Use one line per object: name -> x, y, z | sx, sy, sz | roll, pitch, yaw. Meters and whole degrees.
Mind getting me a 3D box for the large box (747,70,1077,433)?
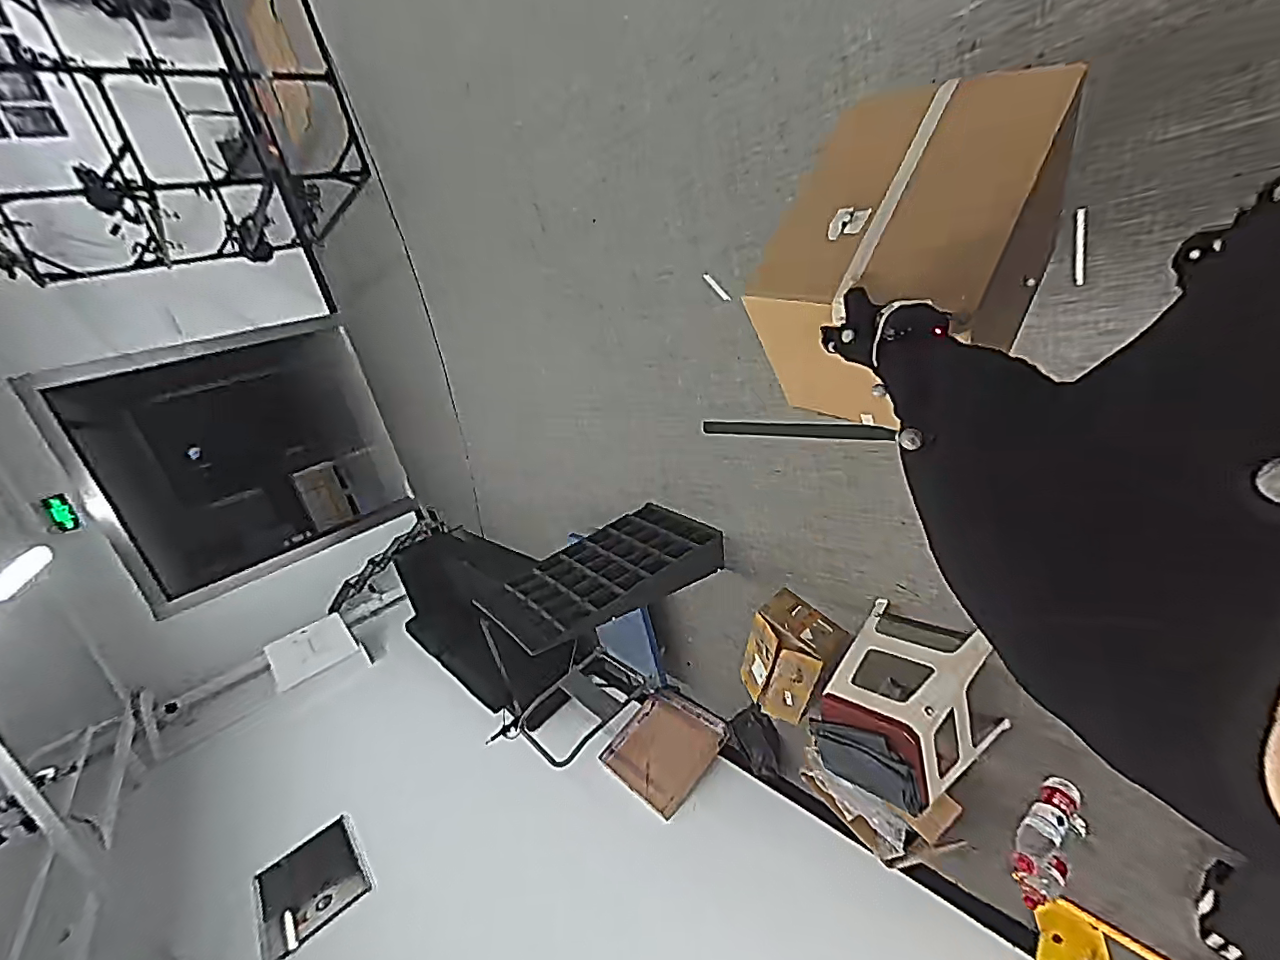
large box -> 0.435, -0.346, 0.874 | 0.320, 0.408, 0.320 | 22, 169, 39
